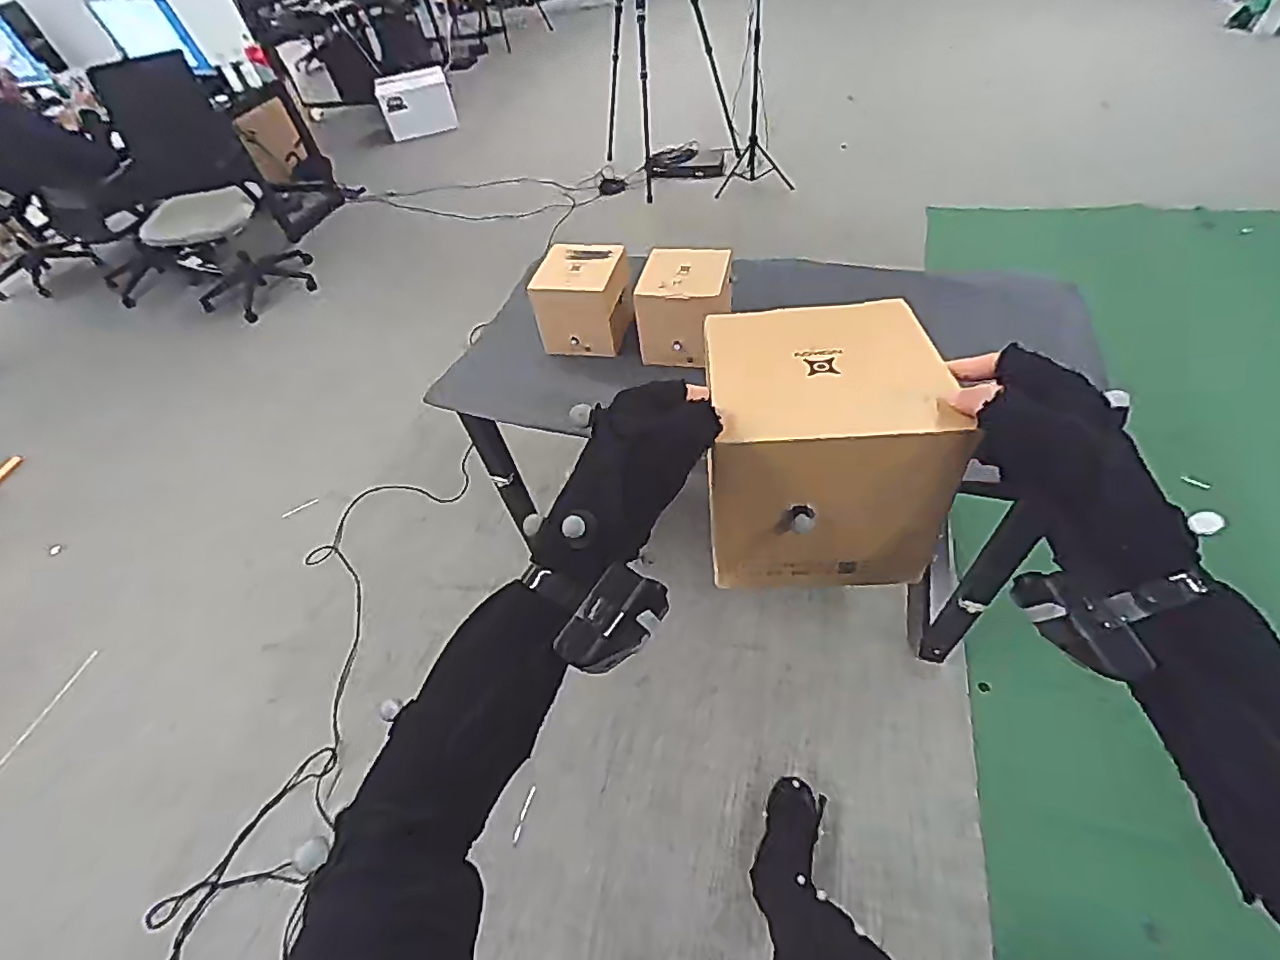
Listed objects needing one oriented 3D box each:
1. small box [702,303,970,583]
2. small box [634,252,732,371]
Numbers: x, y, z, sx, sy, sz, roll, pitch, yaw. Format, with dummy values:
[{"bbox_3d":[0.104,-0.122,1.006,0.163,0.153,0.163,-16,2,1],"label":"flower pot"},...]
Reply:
[{"bbox_3d":[0.141,-0.026,0.457,0.168,0.176,0.179,-3,43,7],"label":"small box"},{"bbox_3d":[0.094,-0.350,1.119,0.168,0.176,0.179,7,52,14],"label":"small box"}]
